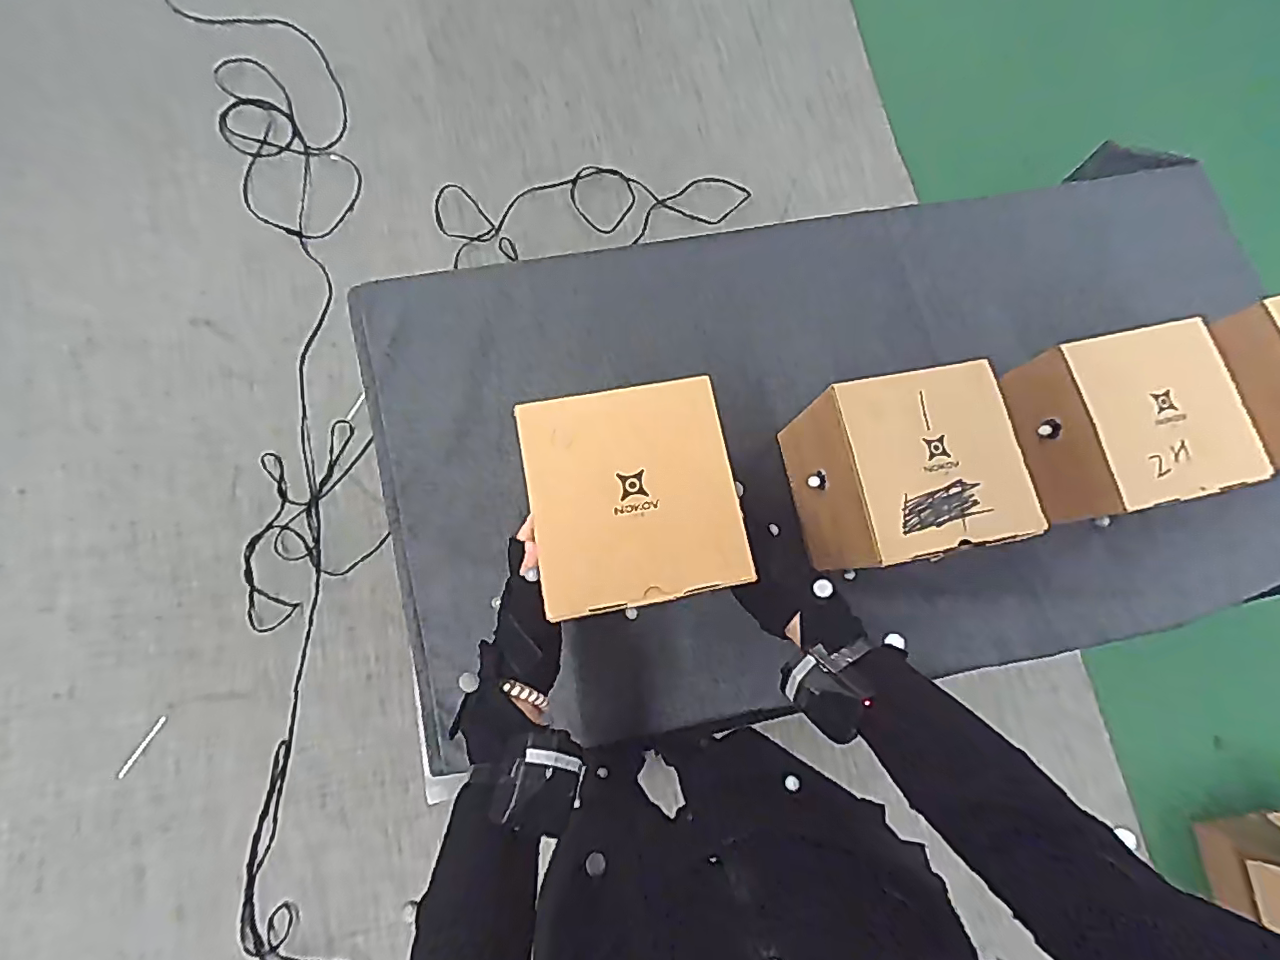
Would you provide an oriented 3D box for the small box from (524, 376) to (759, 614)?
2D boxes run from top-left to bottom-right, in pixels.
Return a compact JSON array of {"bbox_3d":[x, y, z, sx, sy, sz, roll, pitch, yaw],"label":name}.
[{"bbox_3d":[-0.009,0.025,0.507,0.168,0.176,0.179,-10,78,-7],"label":"small box"}]

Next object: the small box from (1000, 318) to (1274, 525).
[{"bbox_3d":[0.509,-0.052,0.607,0.168,0.176,0.179,-12,79,-6],"label":"small box"}]

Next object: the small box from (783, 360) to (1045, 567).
[{"bbox_3d":[0.272,-0.005,0.581,0.168,0.176,0.179,-10,78,-6],"label":"small box"}]
